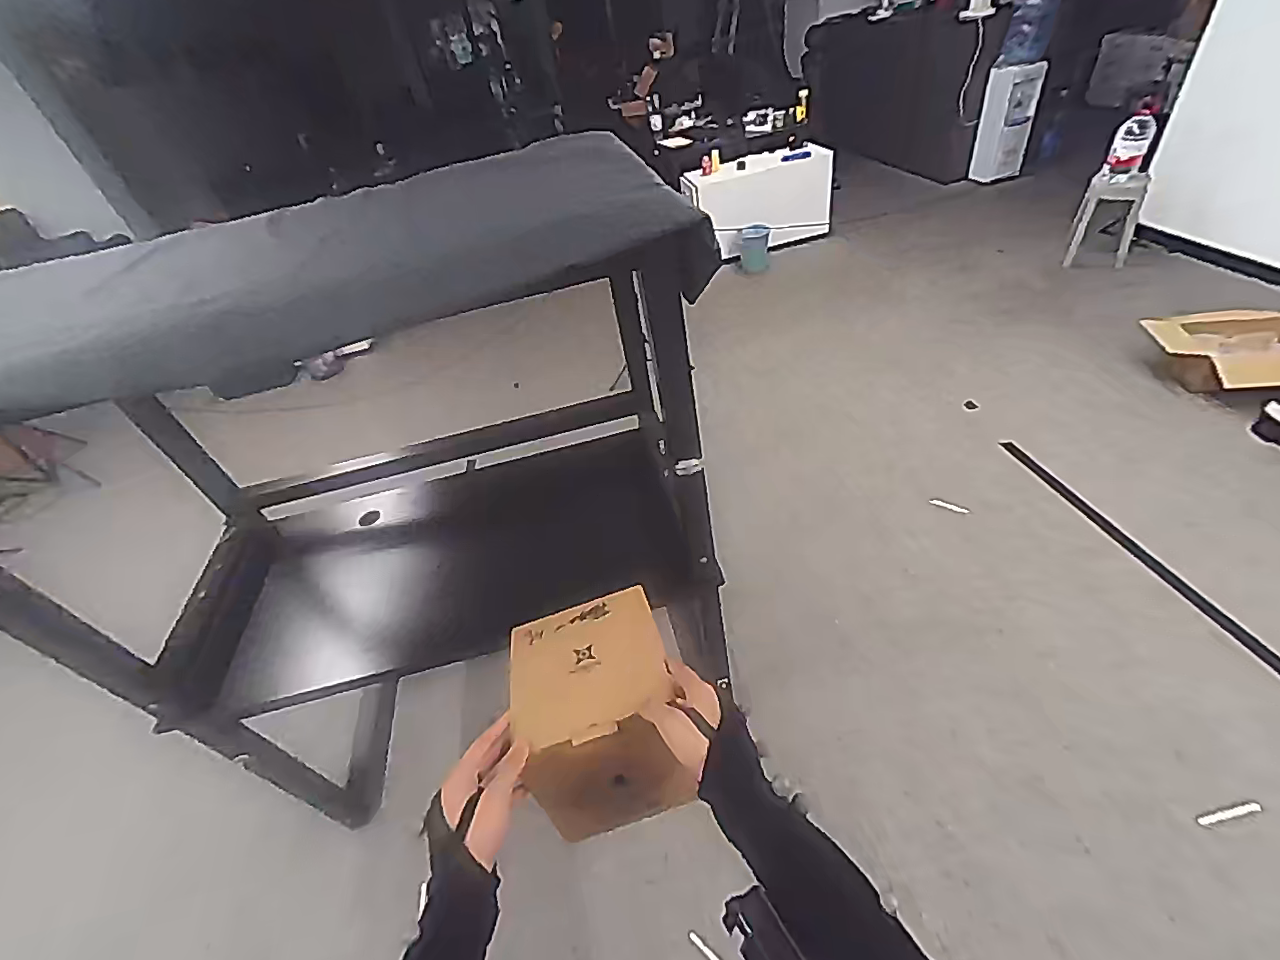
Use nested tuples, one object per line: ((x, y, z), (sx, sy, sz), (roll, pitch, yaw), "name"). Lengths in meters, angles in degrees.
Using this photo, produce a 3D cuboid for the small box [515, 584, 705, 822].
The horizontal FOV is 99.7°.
((-0.035, 0.258, 0.621), (0.168, 0.176, 0.179), (-18, 32, -2), "small box")
